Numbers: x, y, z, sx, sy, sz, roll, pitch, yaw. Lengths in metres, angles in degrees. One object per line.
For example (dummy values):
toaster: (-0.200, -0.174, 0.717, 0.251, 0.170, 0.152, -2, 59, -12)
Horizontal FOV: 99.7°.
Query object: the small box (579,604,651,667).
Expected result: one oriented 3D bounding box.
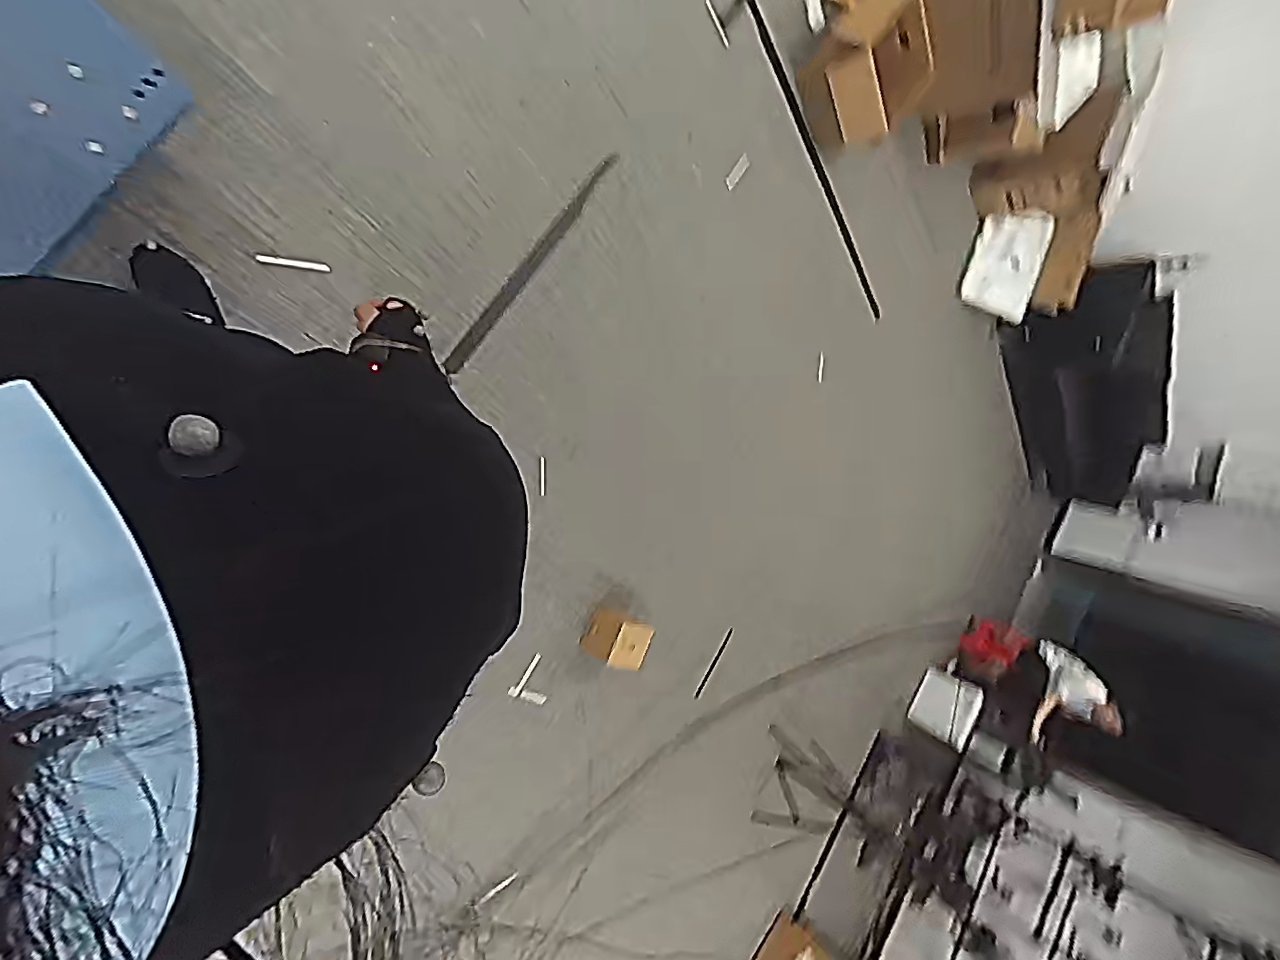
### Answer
small box: (-0.096, 0.582, 2.033, 0.179, 0.176, 0.168, 27, 83, -42)
